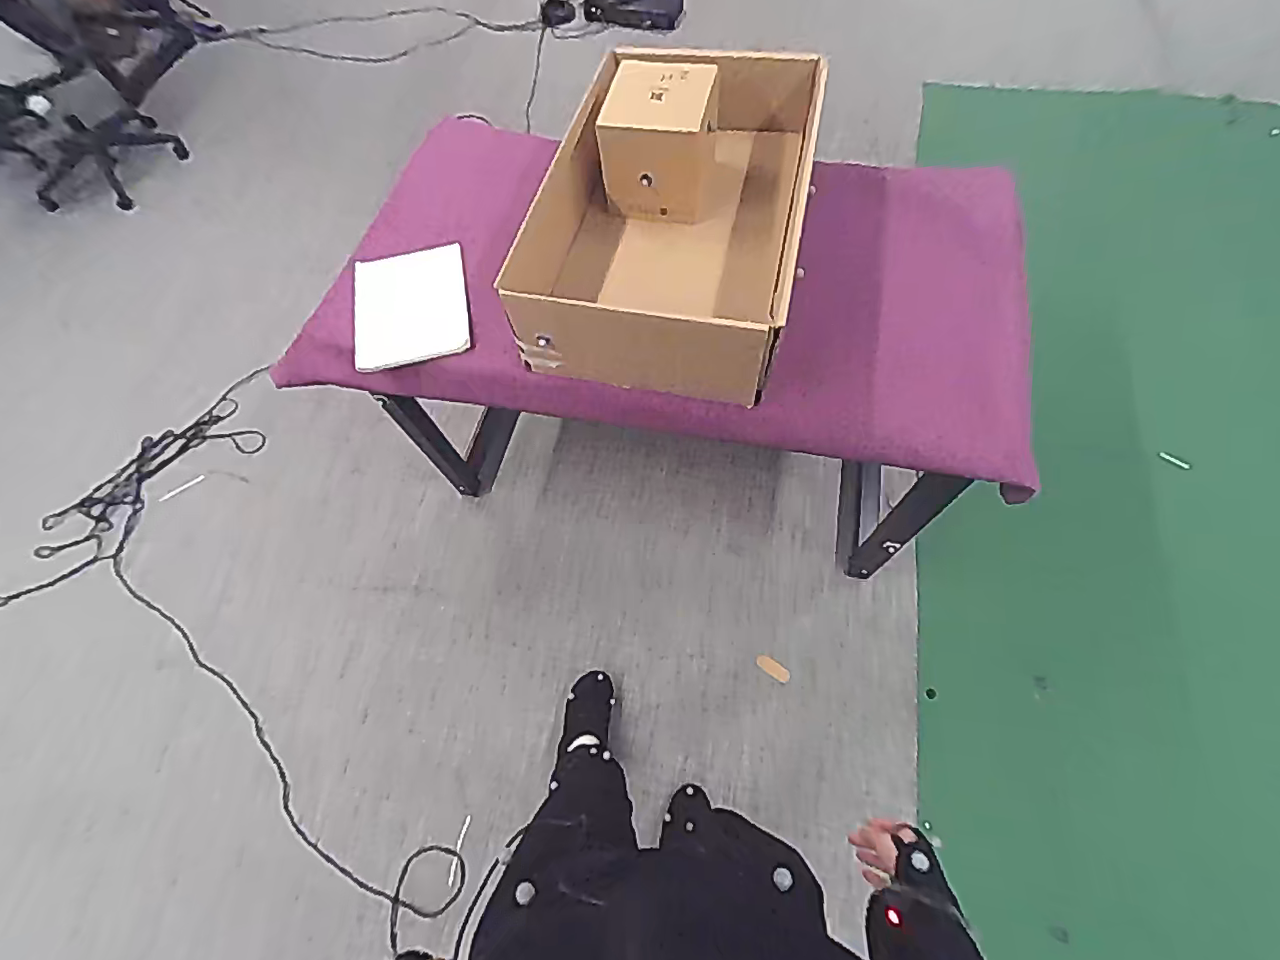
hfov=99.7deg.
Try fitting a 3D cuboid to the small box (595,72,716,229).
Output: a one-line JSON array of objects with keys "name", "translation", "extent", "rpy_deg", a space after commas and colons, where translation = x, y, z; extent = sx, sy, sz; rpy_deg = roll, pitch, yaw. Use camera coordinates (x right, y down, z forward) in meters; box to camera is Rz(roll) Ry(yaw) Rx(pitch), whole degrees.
[{"name": "small box", "translation": [0.035, -0.568, 0.941], "extent": [0.168, 0.176, 0.179], "rpy_deg": [11, 66, 10]}]
